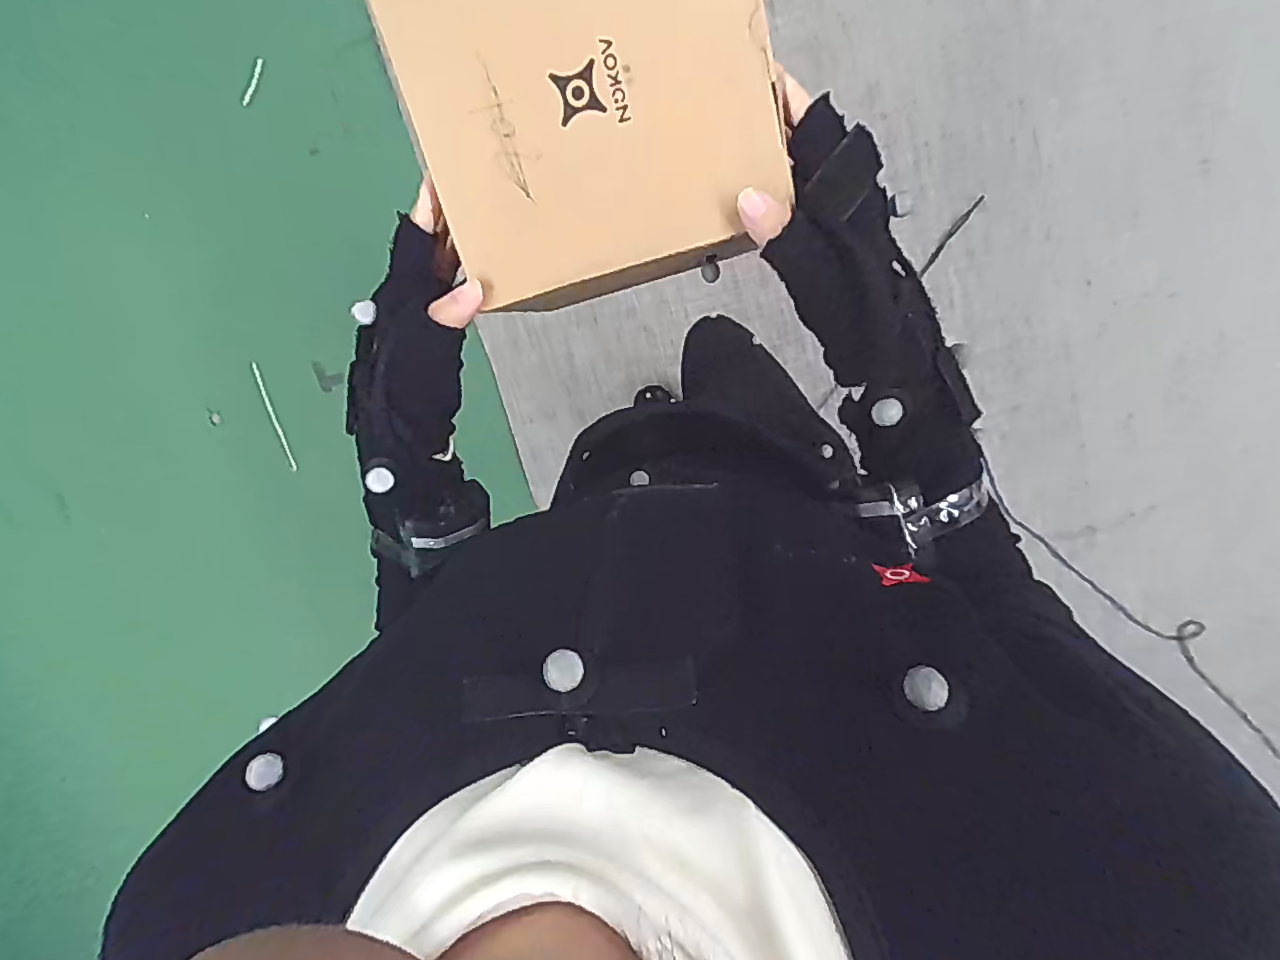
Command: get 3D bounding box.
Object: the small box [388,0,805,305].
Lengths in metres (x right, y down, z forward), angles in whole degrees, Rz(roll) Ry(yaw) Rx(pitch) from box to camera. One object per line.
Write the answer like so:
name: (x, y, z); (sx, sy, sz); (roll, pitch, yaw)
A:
small box: (-0.015, -0.215, 0.337); (0.179, 0.176, 0.168); (-14, 104, 10)
